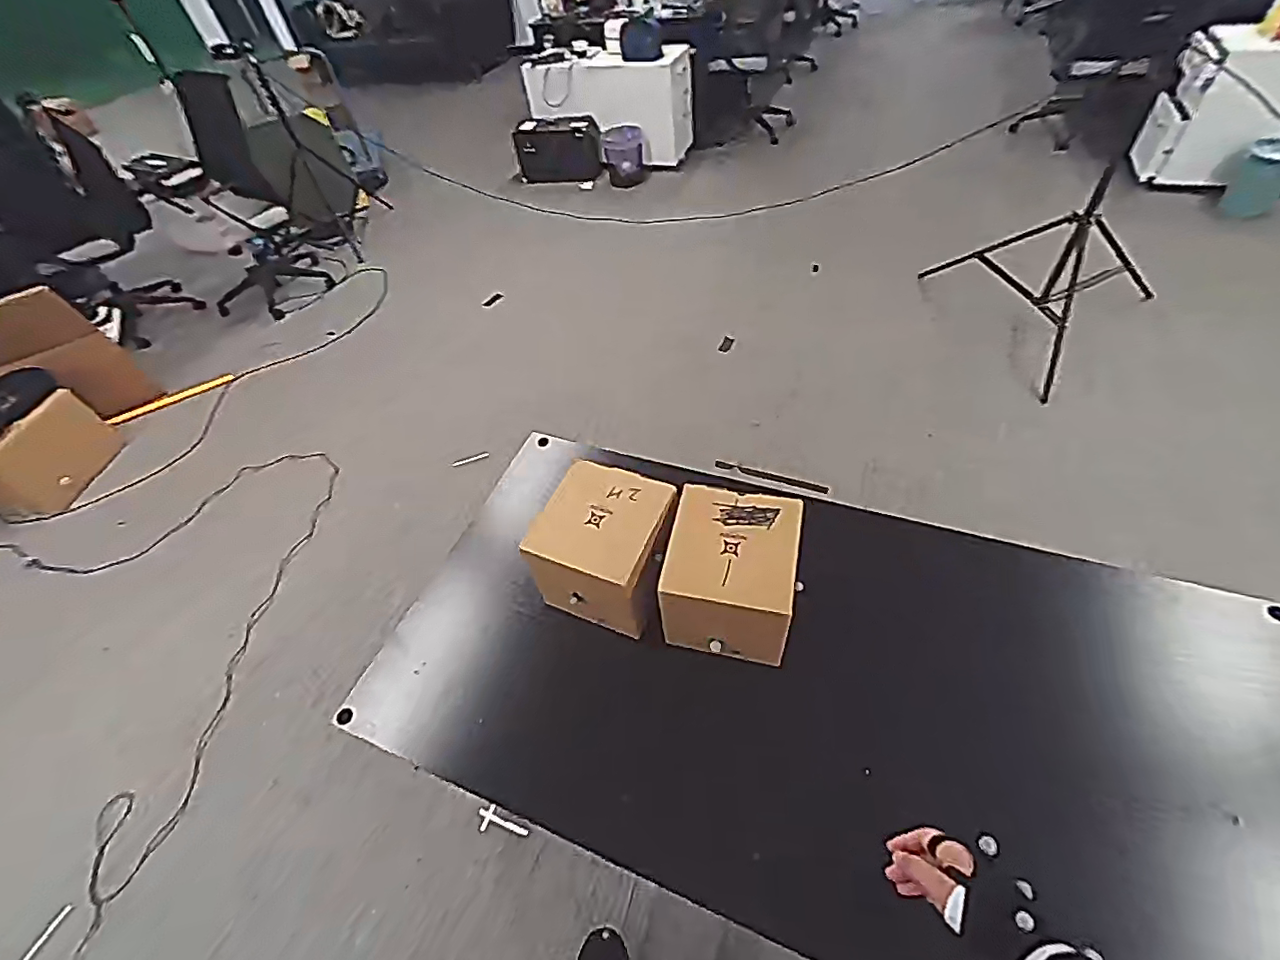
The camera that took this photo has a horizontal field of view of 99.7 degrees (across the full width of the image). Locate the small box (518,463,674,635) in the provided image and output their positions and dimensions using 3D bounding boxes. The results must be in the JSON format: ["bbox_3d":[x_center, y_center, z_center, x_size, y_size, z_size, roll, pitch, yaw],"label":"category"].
[{"bbox_3d":[-0.052,0.107,0.819,0.168,0.176,0.179,16,54,19],"label":"small box"}]
